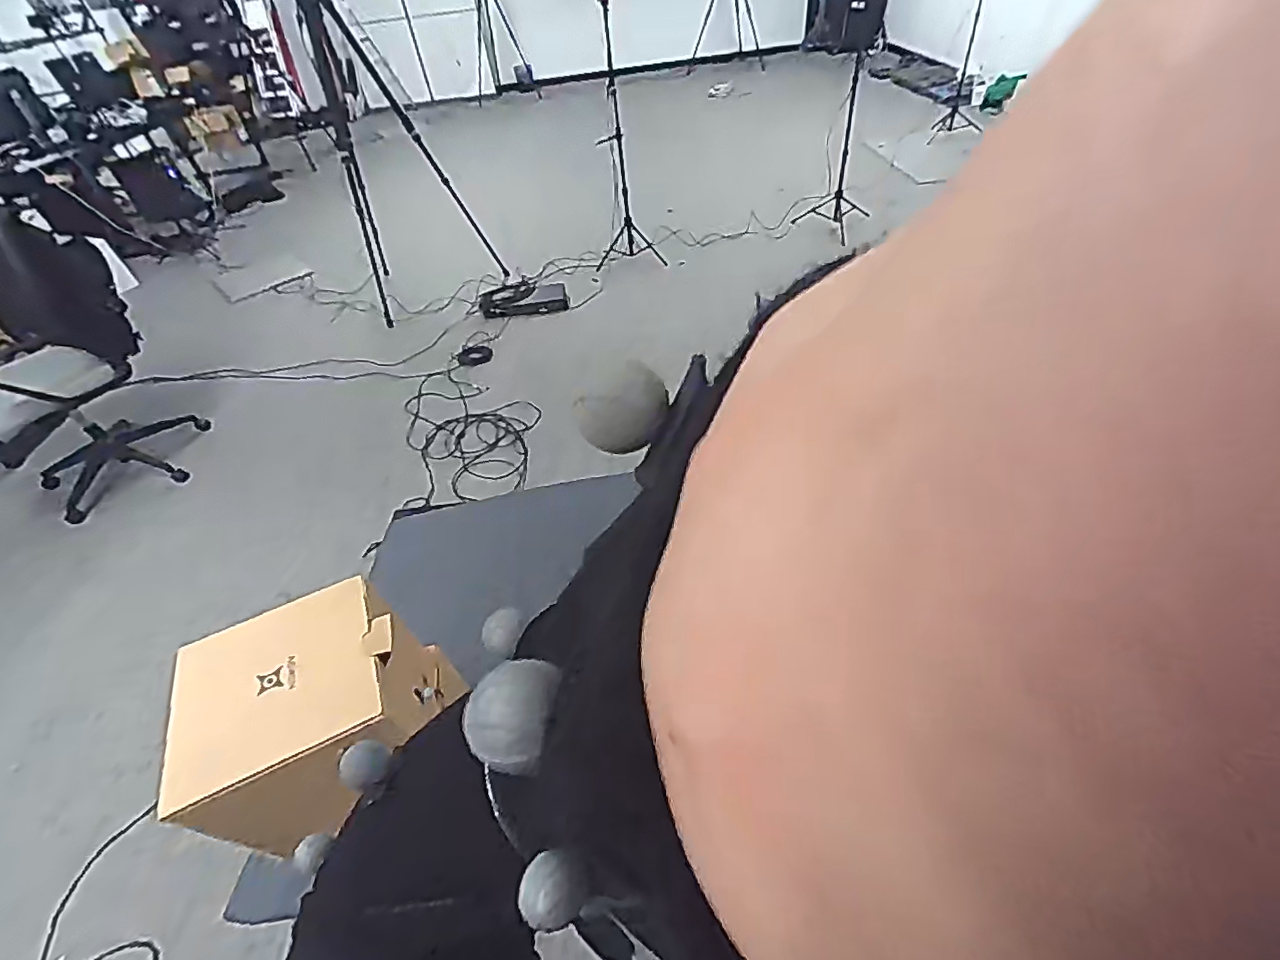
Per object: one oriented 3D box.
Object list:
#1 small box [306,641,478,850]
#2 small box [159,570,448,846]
[{"bbox_3d":[-0.308,0.331,0.673,0.179,0.176,0.168,-15,47,-5],"label":"small box"},{"bbox_3d":[-0.320,0.230,0.545,0.179,0.176,0.168,-23,48,-15],"label":"small box"}]
